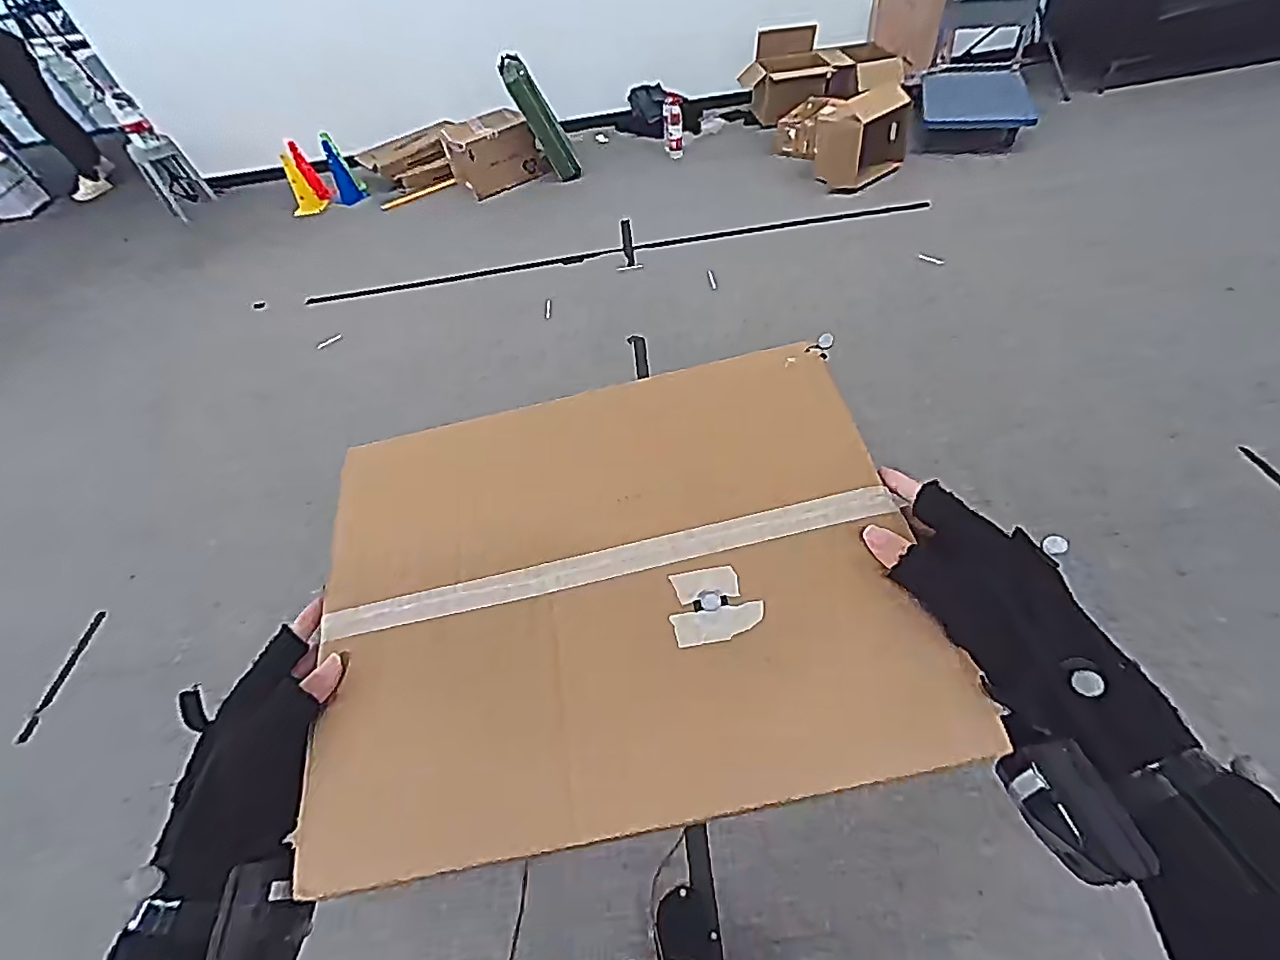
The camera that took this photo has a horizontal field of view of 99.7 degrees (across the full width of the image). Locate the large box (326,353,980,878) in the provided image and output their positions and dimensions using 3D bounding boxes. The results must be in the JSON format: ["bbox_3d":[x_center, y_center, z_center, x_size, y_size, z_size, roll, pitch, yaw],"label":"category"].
[{"bbox_3d":[-0.003,0.136,0.518,0.408,0.320,0.320,-13,60,1],"label":"large box"}]
